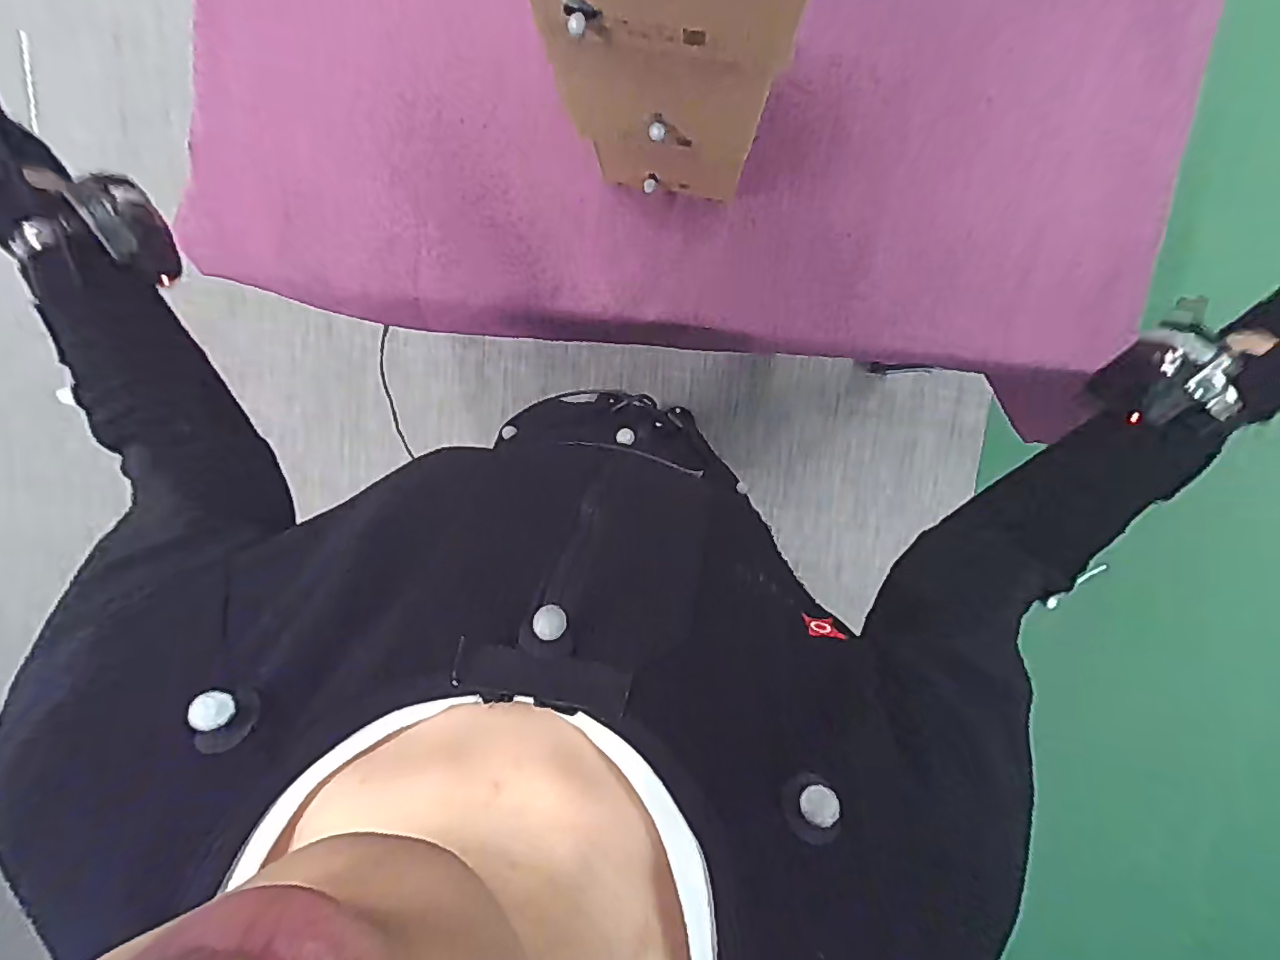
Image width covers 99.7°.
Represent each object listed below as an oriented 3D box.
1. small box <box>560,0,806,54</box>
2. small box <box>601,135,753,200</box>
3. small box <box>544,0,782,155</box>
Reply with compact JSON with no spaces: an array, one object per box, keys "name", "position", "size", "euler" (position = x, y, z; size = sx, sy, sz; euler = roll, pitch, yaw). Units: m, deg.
[{"name":"small box","position":[0.027,-0.359,0.267],"size":[0.168,0.176,0.179],"euler":[10,99,2]},{"name":"small box","position":[0.047,-0.435,0.586],"size":[0.168,0.176,0.179],"euler":[11,100,2]},{"name":"small box","position":[0.032,-0.395,0.427],"size":[0.168,0.176,0.179],"euler":[9,100,2]}]
